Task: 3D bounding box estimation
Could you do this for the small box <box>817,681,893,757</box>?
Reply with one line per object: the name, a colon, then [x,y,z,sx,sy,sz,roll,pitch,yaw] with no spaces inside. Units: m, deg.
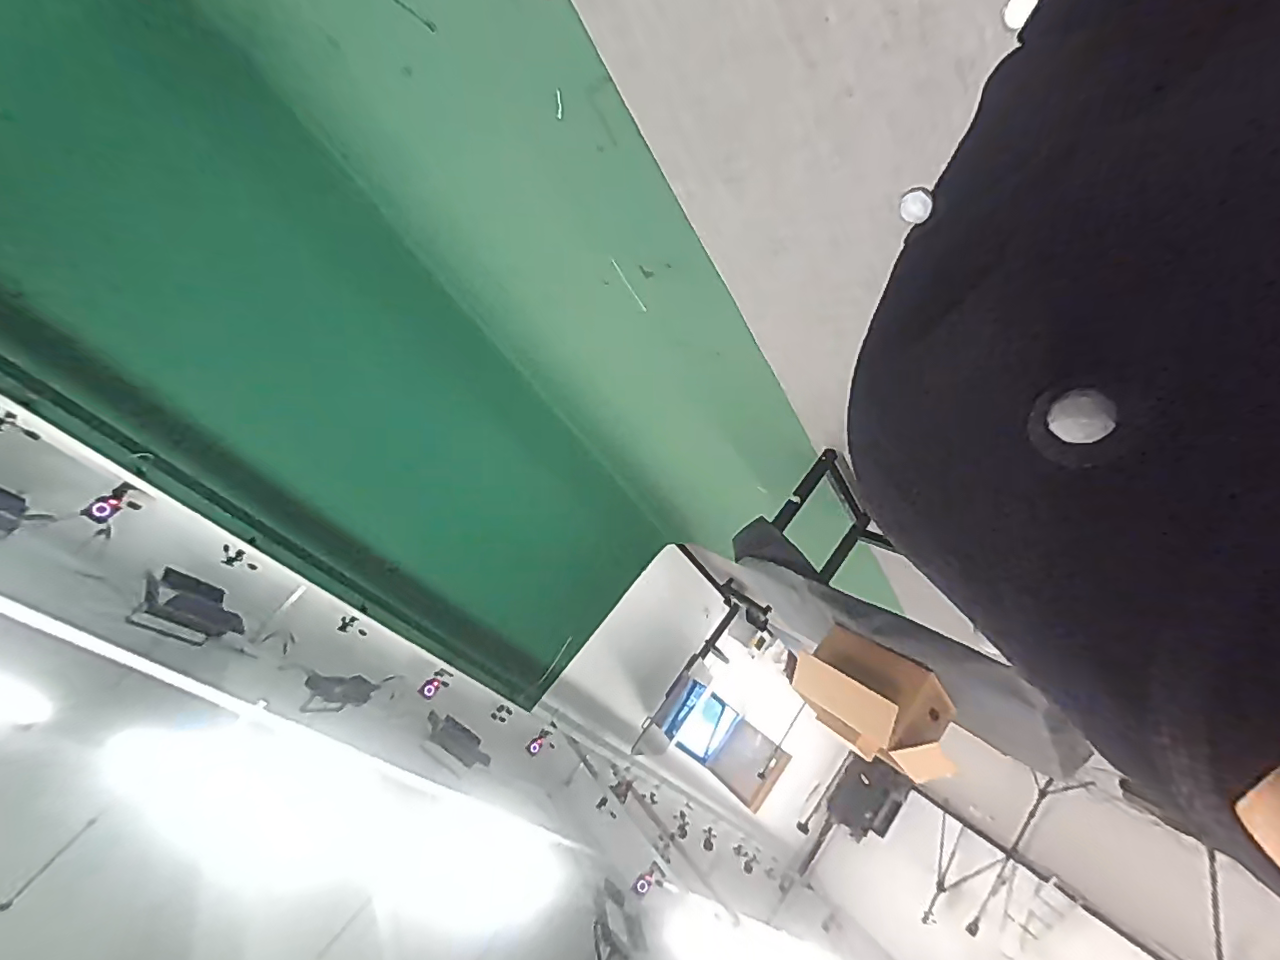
small box: [0.796,0.873,1.996,0.168,0.176,0.179,48,165,-33]
